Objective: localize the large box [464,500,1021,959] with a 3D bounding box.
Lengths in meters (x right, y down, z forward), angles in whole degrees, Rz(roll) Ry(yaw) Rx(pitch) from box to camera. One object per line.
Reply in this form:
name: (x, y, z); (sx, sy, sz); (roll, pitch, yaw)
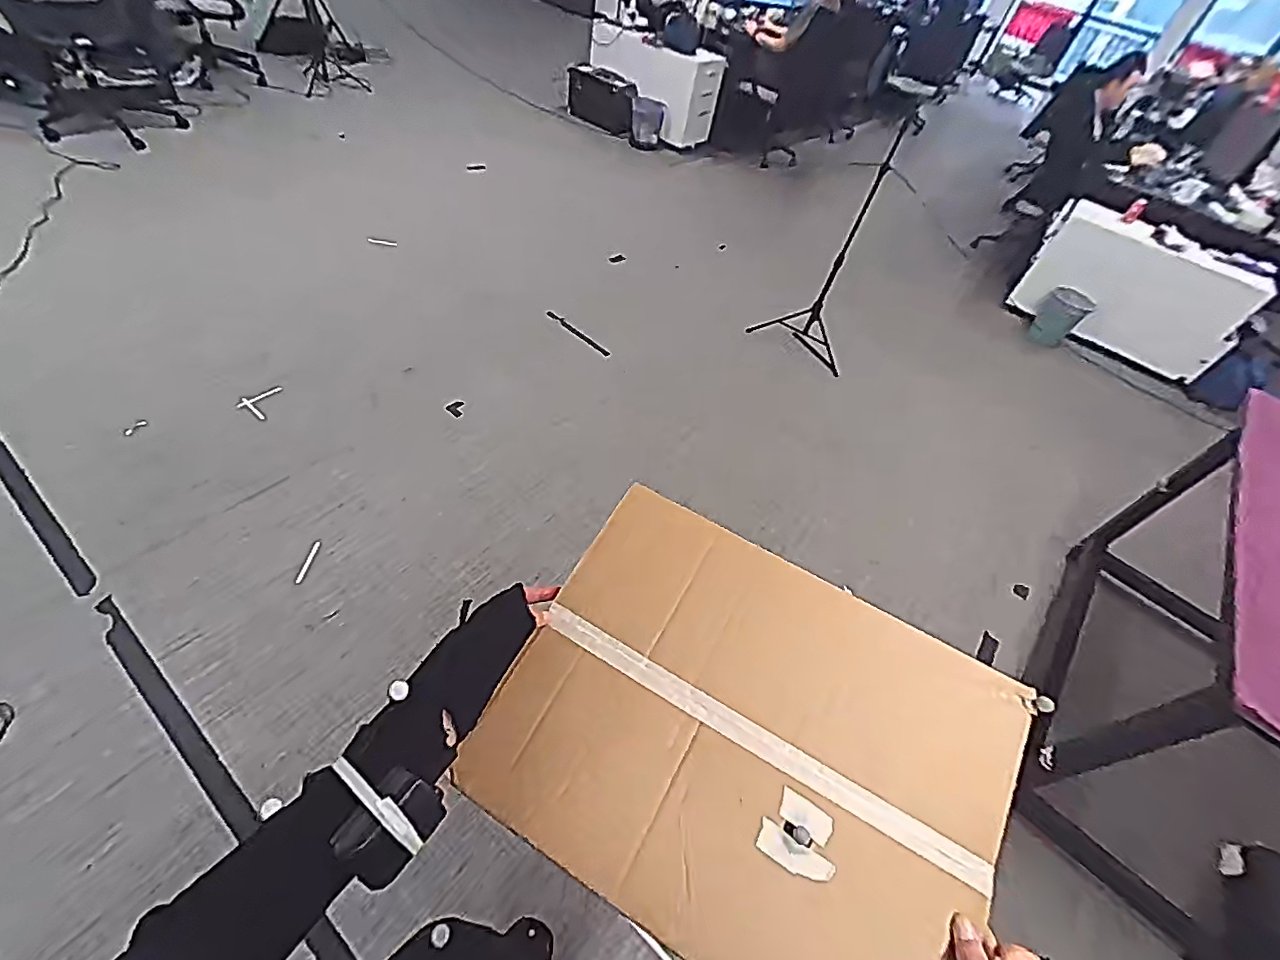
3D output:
large box: (0.094, 0.290, 0.599); (0.408, 0.320, 0.320); (28, 67, 14)
